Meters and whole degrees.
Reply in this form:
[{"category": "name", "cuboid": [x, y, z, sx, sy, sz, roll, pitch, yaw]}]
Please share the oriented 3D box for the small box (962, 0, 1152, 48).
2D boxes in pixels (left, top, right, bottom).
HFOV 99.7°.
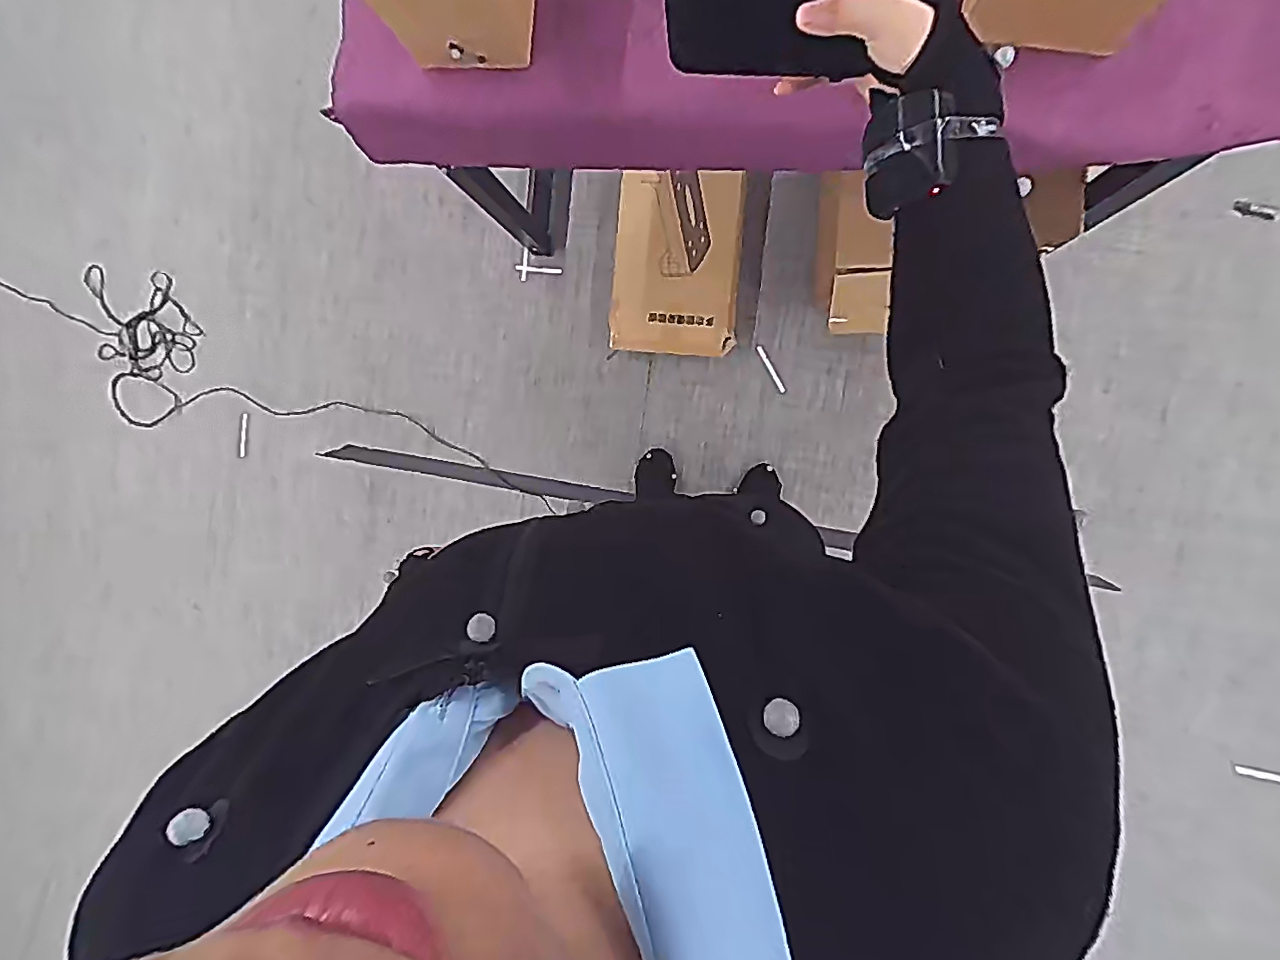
[{"category": "small box", "cuboid": [0.465, -0.586, 0.549, 0.179, 0.176, 0.168, 14, 97, 8]}]
